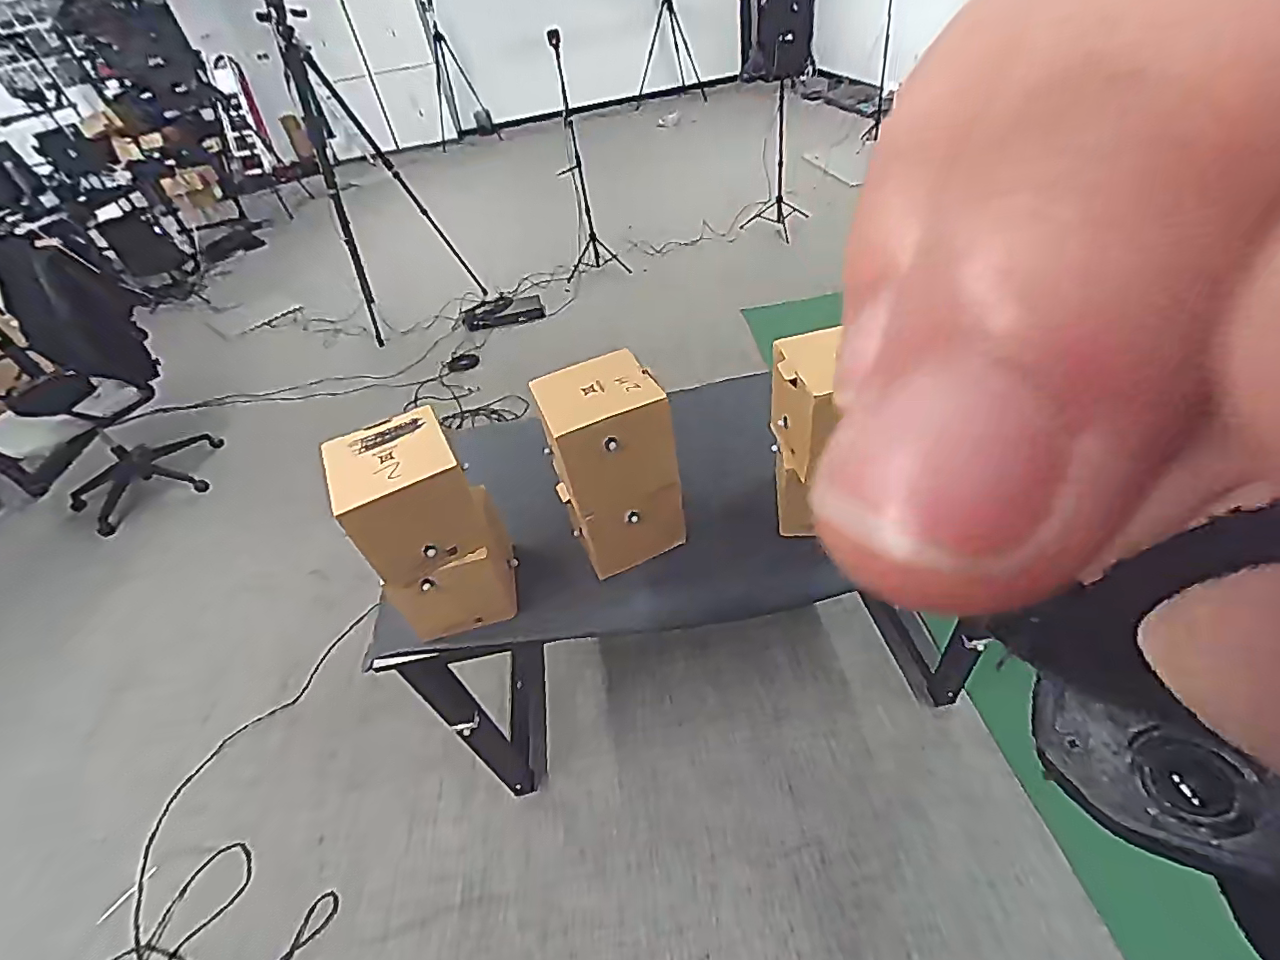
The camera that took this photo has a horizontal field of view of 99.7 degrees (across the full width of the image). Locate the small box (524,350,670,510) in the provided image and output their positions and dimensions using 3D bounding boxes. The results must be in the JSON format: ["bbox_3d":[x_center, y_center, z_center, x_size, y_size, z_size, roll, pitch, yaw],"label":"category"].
[{"bbox_3d":[-0.066,-0.078,0.874,0.179,0.176,0.168,-21,44,-10],"label":"small box"}]

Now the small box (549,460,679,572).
[{"bbox_3d":[-0.043,0.038,0.989,0.179,0.176,0.168,-23,45,-13],"label":"small box"}]

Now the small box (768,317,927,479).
[{"bbox_3d":[0.306,-0.126,0.843,0.179,0.176,0.168,-13,42,0],"label":"small box"}]

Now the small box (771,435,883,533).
[{"bbox_3d":[0.324,-0.025,0.972,0.168,0.176,0.179,-1,44,12],"label":"small box"}]

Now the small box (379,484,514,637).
[{"bbox_3d":[-0.325,0.139,0.939,0.168,0.176,0.179,-15,43,-4],"label":"small box"}]
